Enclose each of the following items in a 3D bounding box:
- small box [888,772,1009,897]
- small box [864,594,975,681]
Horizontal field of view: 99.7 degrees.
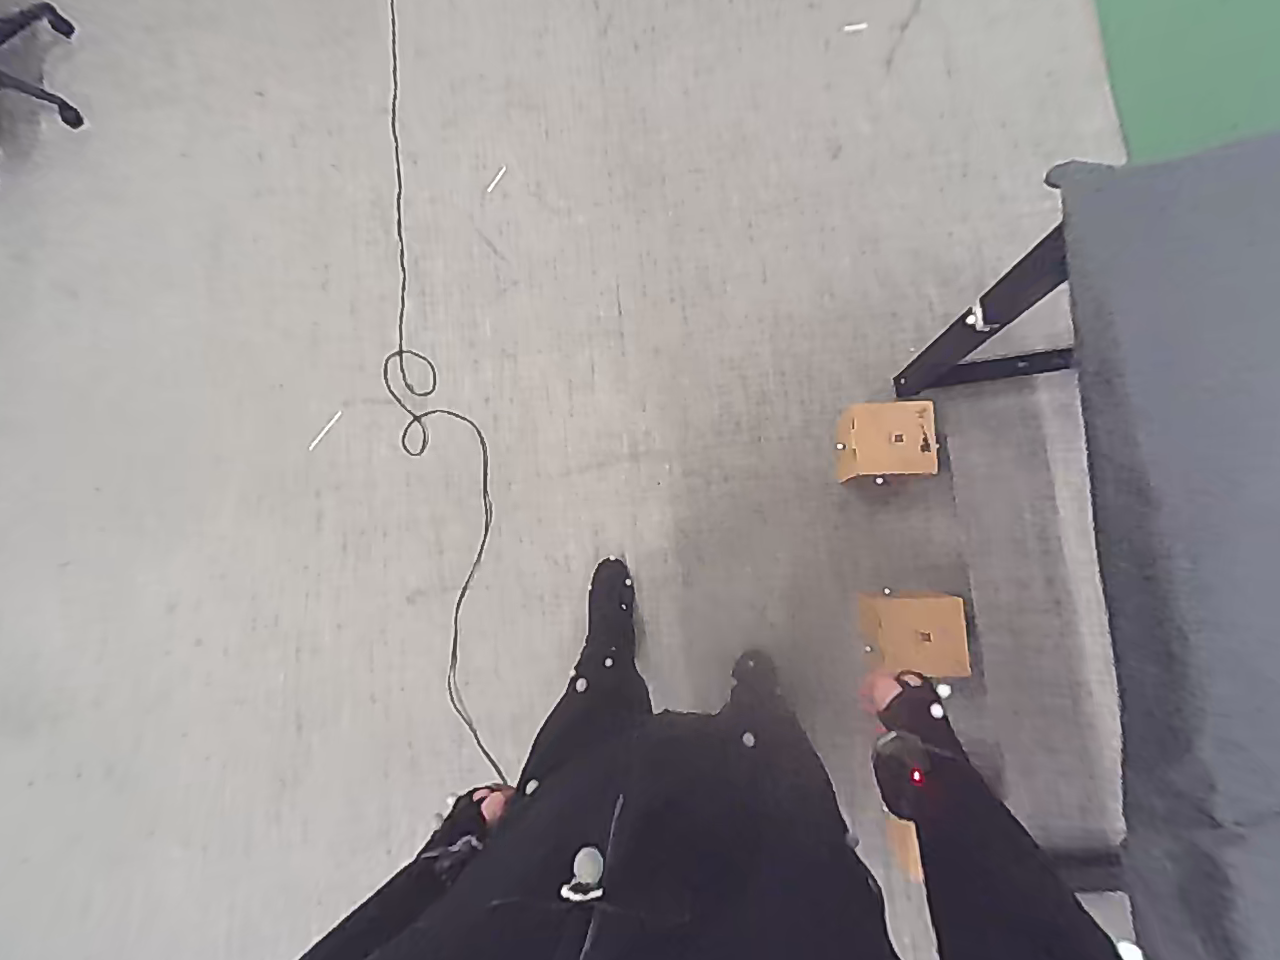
[{"bbox_3d":[0.650,0.745,1.156,0.179,0.176,0.168,-1,82,9],"label":"small box"},{"bbox_3d":[0.617,0.349,1.220,0.179,0.176,0.168,-4,83,6],"label":"small box"}]
